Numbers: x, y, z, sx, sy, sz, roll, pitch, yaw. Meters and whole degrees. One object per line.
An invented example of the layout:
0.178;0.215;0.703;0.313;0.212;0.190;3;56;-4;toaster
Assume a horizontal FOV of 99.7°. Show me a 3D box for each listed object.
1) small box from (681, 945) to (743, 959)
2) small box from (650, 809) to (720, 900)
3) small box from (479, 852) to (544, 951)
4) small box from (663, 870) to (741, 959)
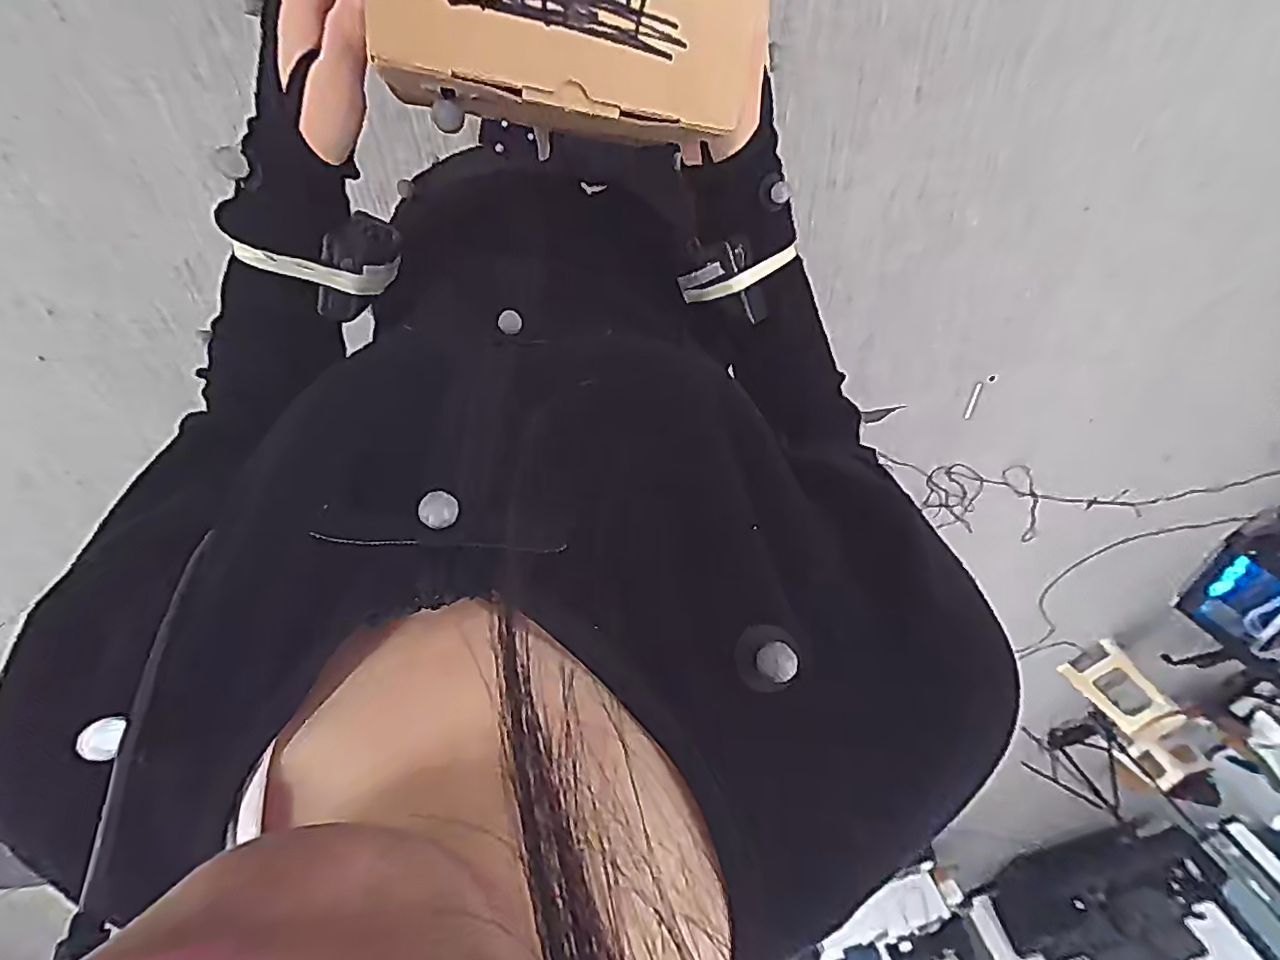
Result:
0.194;1.303;1.352;0.168;0.176;0.179;-8;127;-9;small box
0.128;1.105;1.606;0.168;0.176;0.179;-8;128;-9;small box
-0.363;1.197;1.540;0.168;0.176;0.179;-5;127;-12;small box
0.163;1.207;1.483;0.168;0.176;0.179;-9;129;-9;small box
